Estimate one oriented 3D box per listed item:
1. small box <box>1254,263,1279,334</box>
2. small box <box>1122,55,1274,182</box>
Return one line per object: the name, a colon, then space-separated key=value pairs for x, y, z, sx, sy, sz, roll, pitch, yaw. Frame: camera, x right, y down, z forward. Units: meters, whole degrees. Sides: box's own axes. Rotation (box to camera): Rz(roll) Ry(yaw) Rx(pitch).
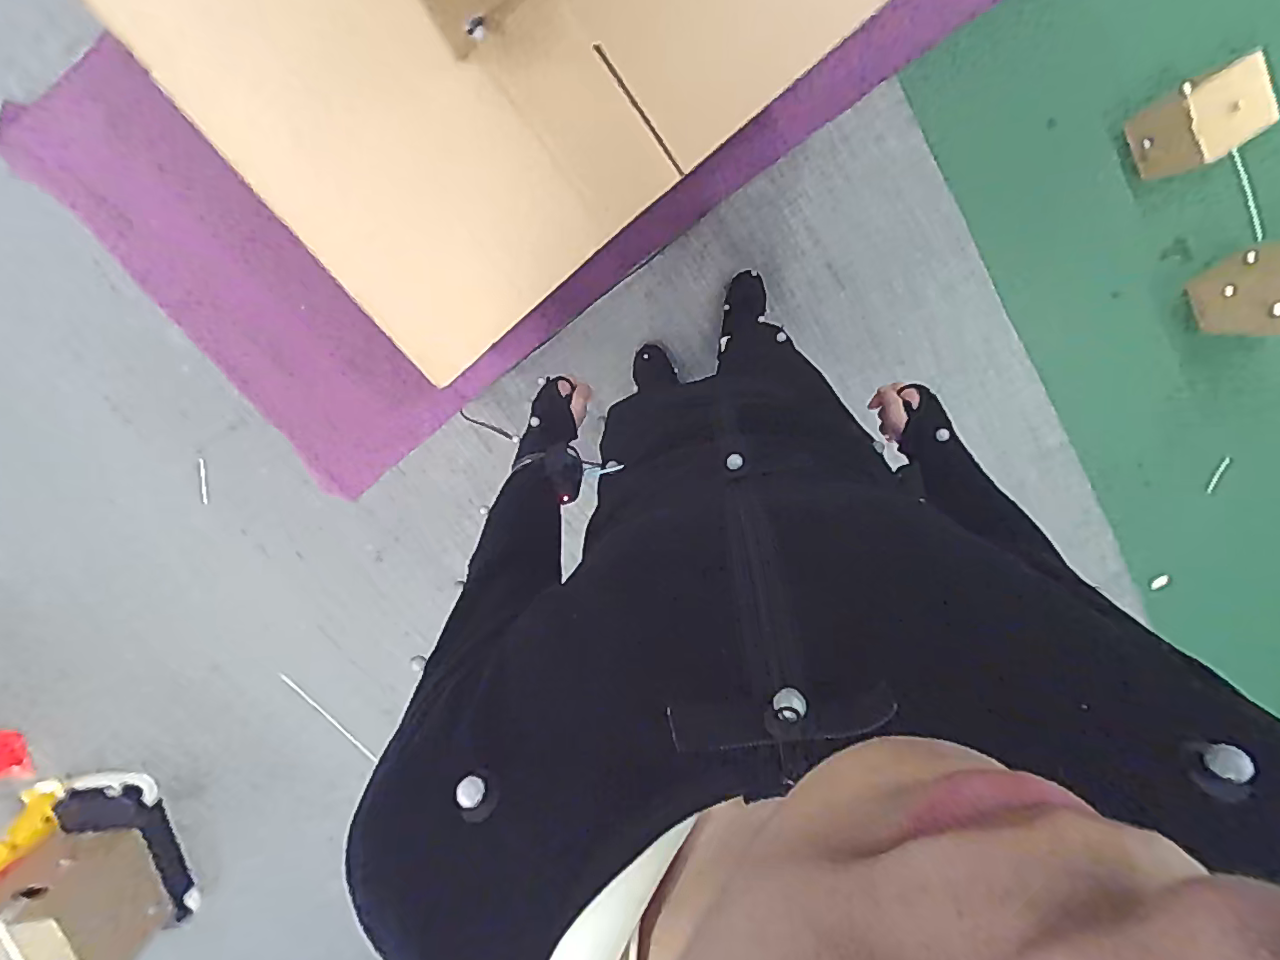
small box: x=1.634 y=-0.457 z=1.270 sx=0.179 sy=0.176 sz=0.168 roll=-32 pitch=104 yaw=8
small box: x=1.351 y=-0.869 z=1.319 sx=0.179 sy=0.176 sz=0.168 roll=-34 pitch=104 yaw=9
